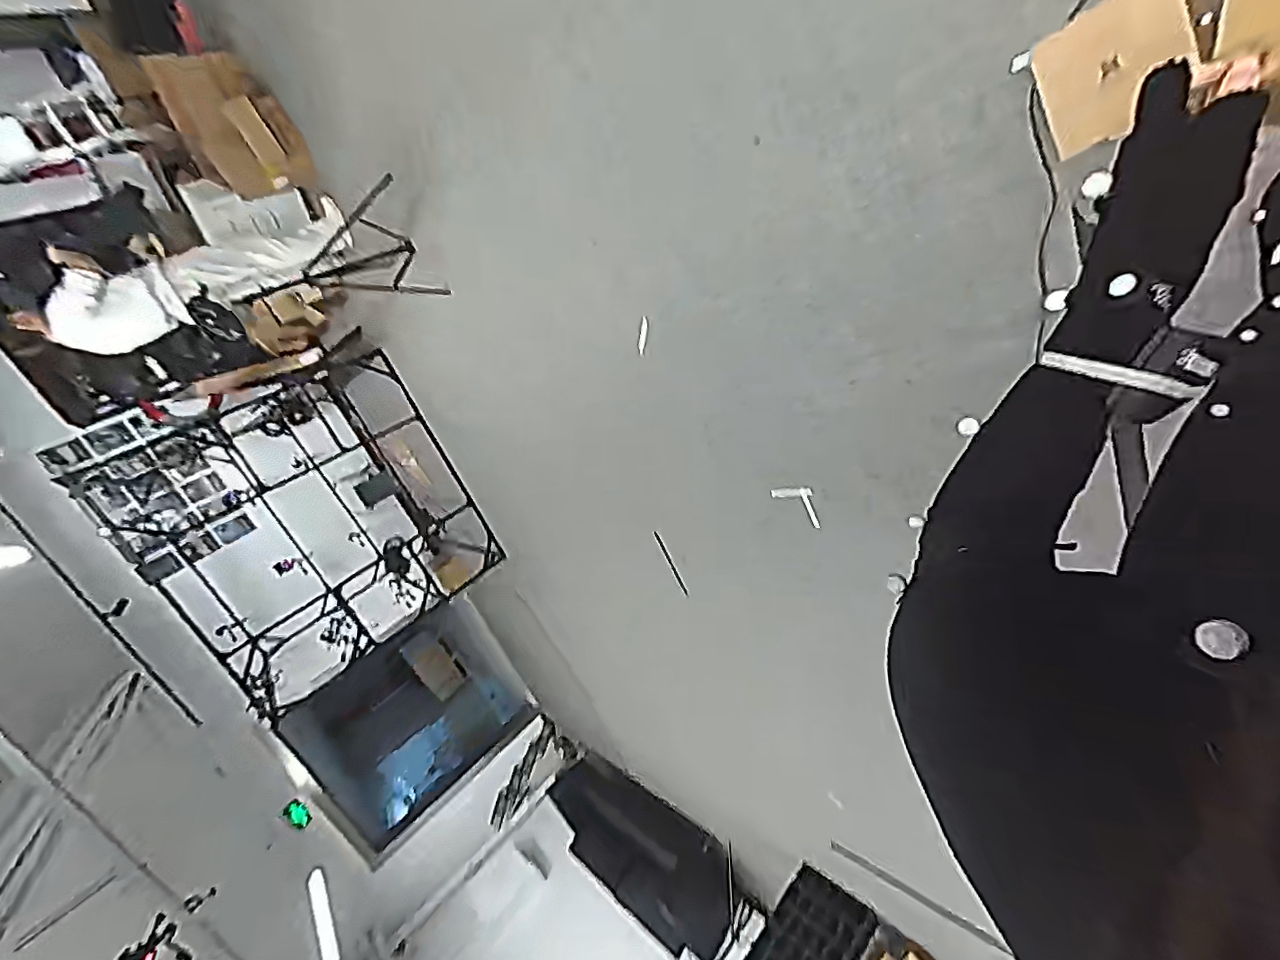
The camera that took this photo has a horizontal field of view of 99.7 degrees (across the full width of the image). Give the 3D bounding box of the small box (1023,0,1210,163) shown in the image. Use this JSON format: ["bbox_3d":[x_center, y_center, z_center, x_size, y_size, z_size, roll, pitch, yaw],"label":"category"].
[{"bbox_3d":[0.725,-0.626,0.820,0.168,0.176,0.179,-9,112,55],"label":"small box"}]

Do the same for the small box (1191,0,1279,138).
[{"bbox_3d":[0.439,-0.294,0.257,0.168,0.179,0.176,-24,-58,-86],"label":"small box"}]
